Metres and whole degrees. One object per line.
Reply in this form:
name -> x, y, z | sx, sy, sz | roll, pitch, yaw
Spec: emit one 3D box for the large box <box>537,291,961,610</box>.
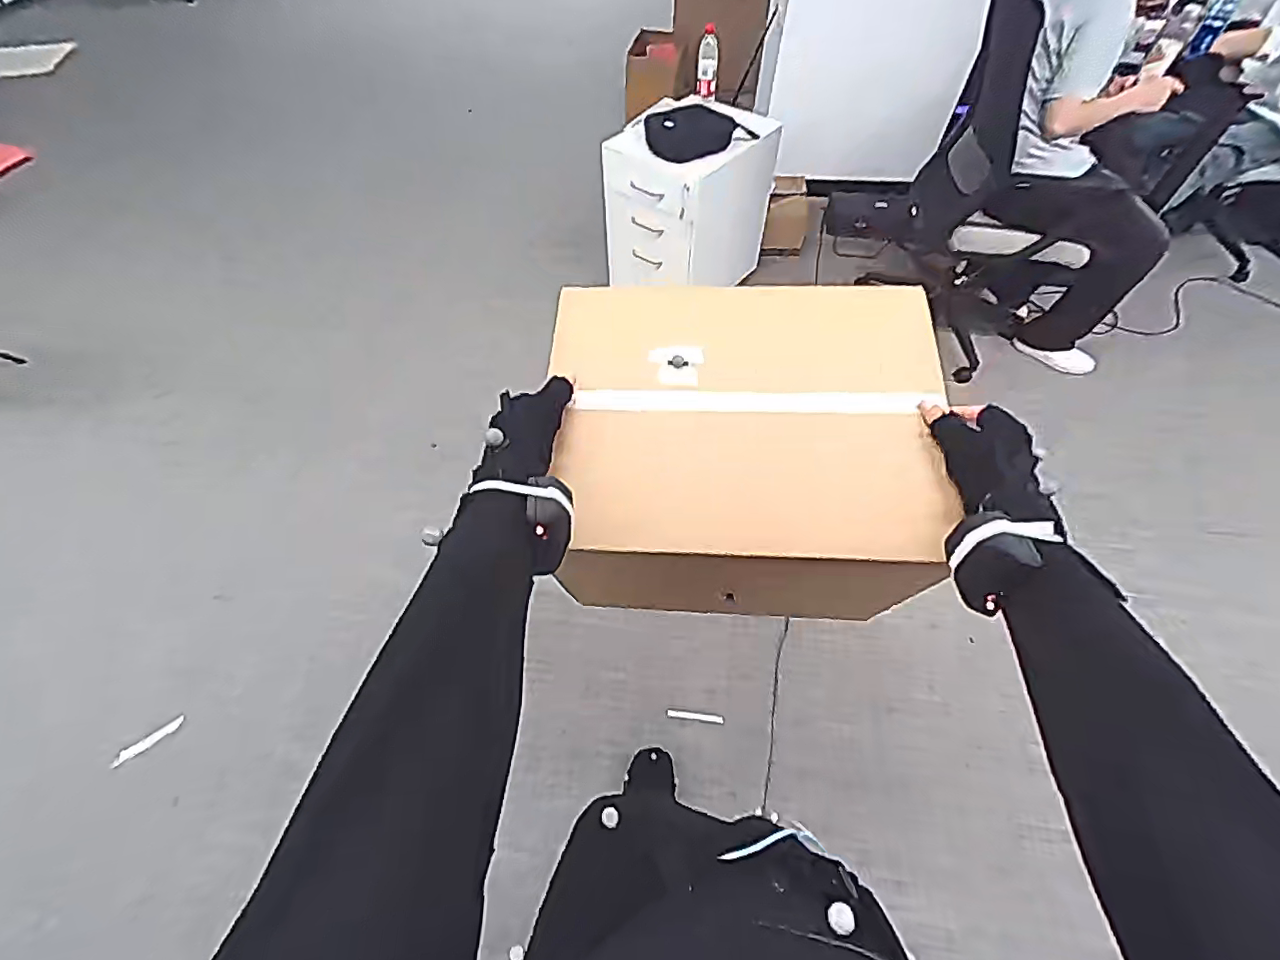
large box -> 0.118, -0.015, 0.703 | 0.408, 0.320, 0.320 | 2, 66, 6
